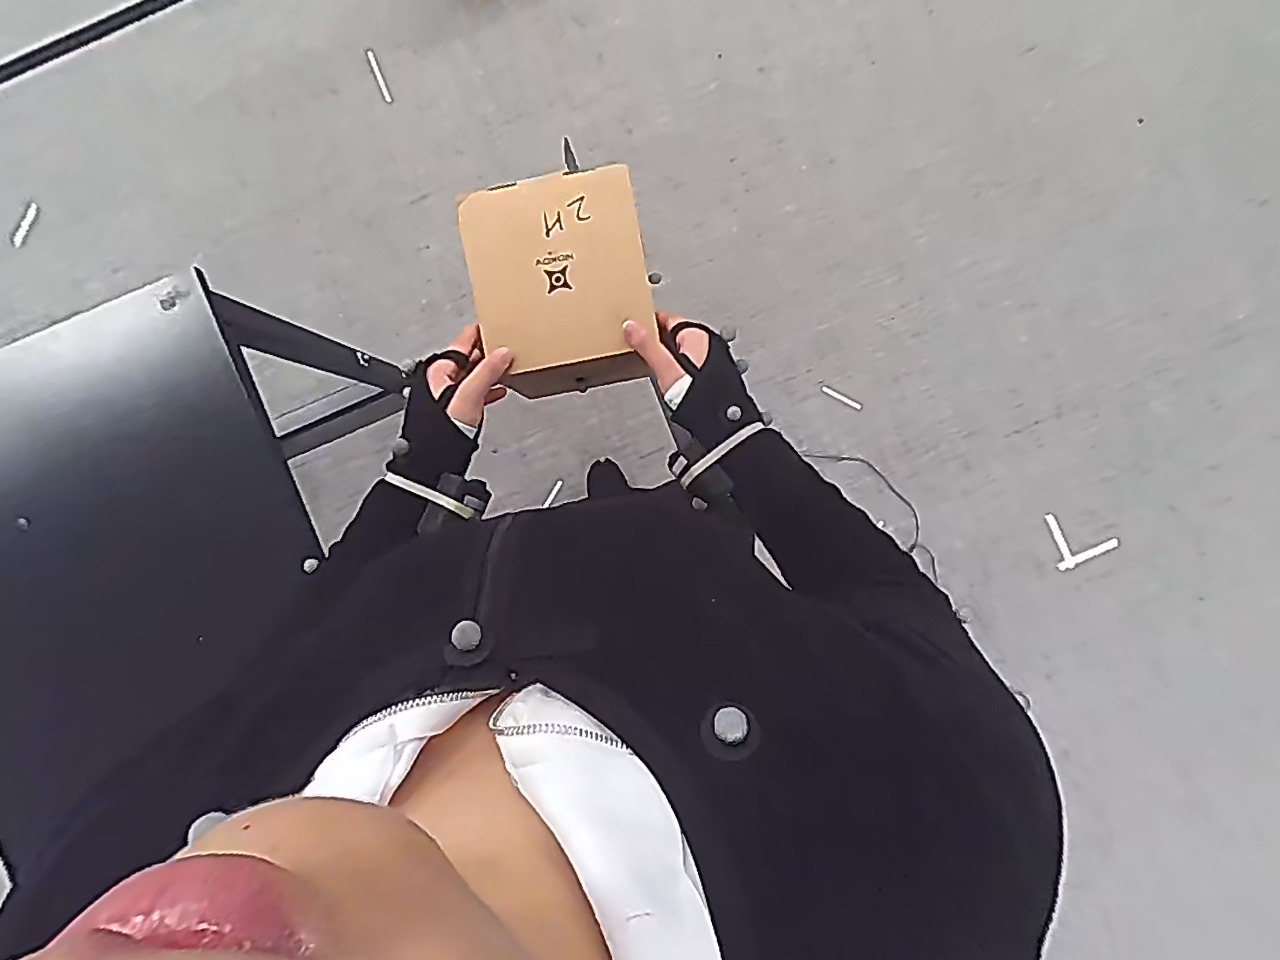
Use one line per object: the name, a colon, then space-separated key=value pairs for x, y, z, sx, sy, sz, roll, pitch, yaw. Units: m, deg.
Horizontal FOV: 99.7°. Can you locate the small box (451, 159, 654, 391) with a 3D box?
small box: x=-0.079 y=-0.199 z=0.582 sx=0.168 sy=0.176 sz=0.179 roll=-11 pitch=90 yaw=2
